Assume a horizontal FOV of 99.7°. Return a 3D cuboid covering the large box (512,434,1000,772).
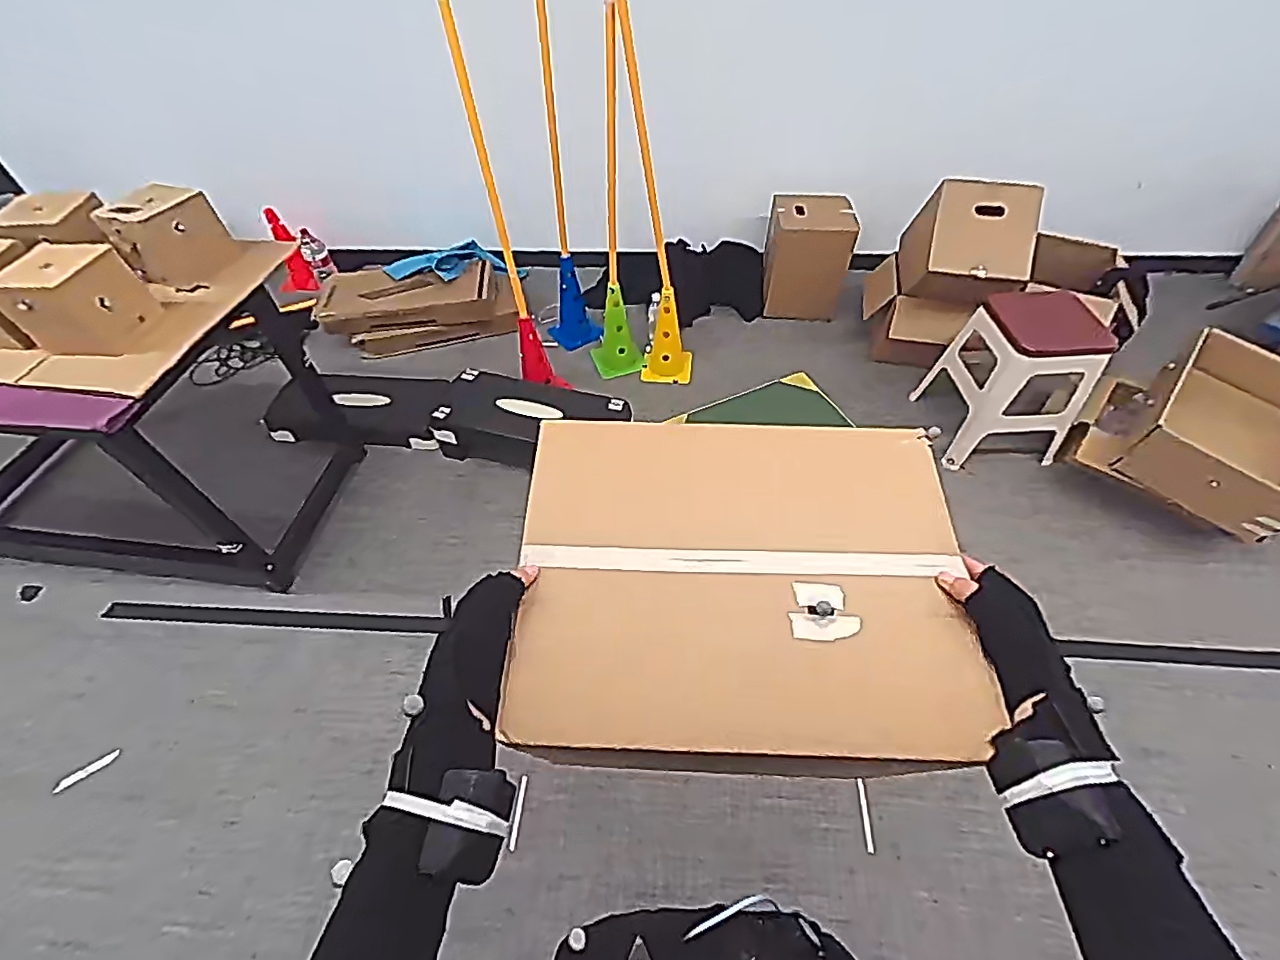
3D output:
[{"bbox_3d":[0.095,0.160,0.636,0.408,0.320,0.320,2,61,1],"label":"large box"}]
